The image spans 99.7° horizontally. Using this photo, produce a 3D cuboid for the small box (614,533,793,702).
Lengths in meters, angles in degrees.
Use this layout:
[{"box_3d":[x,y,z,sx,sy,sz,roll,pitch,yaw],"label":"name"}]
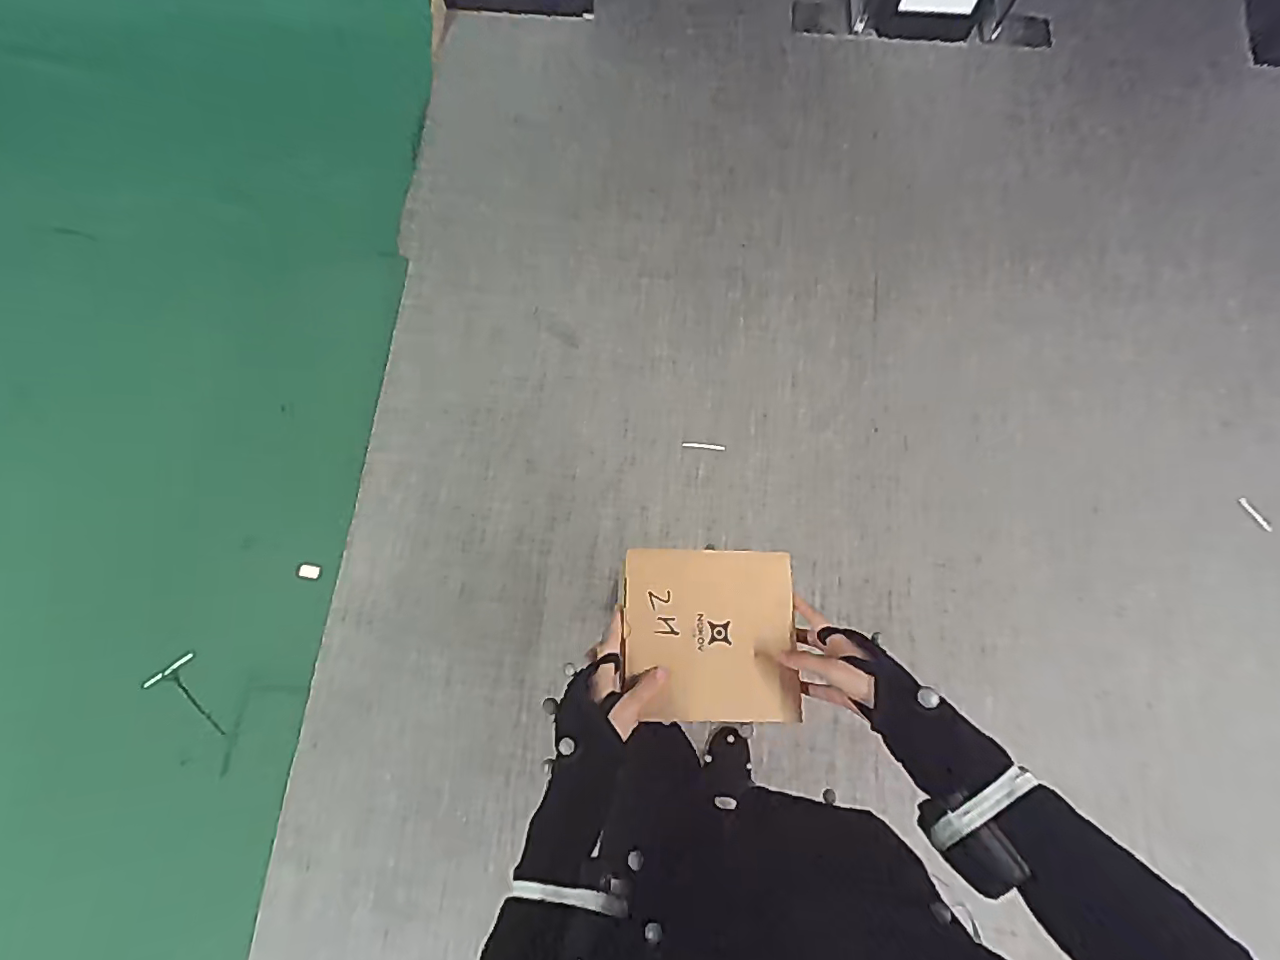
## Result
[{"box_3d":[0.062,0.162,0.627,0.179,0.176,0.168,2,70,-2],"label":"small box"}]
